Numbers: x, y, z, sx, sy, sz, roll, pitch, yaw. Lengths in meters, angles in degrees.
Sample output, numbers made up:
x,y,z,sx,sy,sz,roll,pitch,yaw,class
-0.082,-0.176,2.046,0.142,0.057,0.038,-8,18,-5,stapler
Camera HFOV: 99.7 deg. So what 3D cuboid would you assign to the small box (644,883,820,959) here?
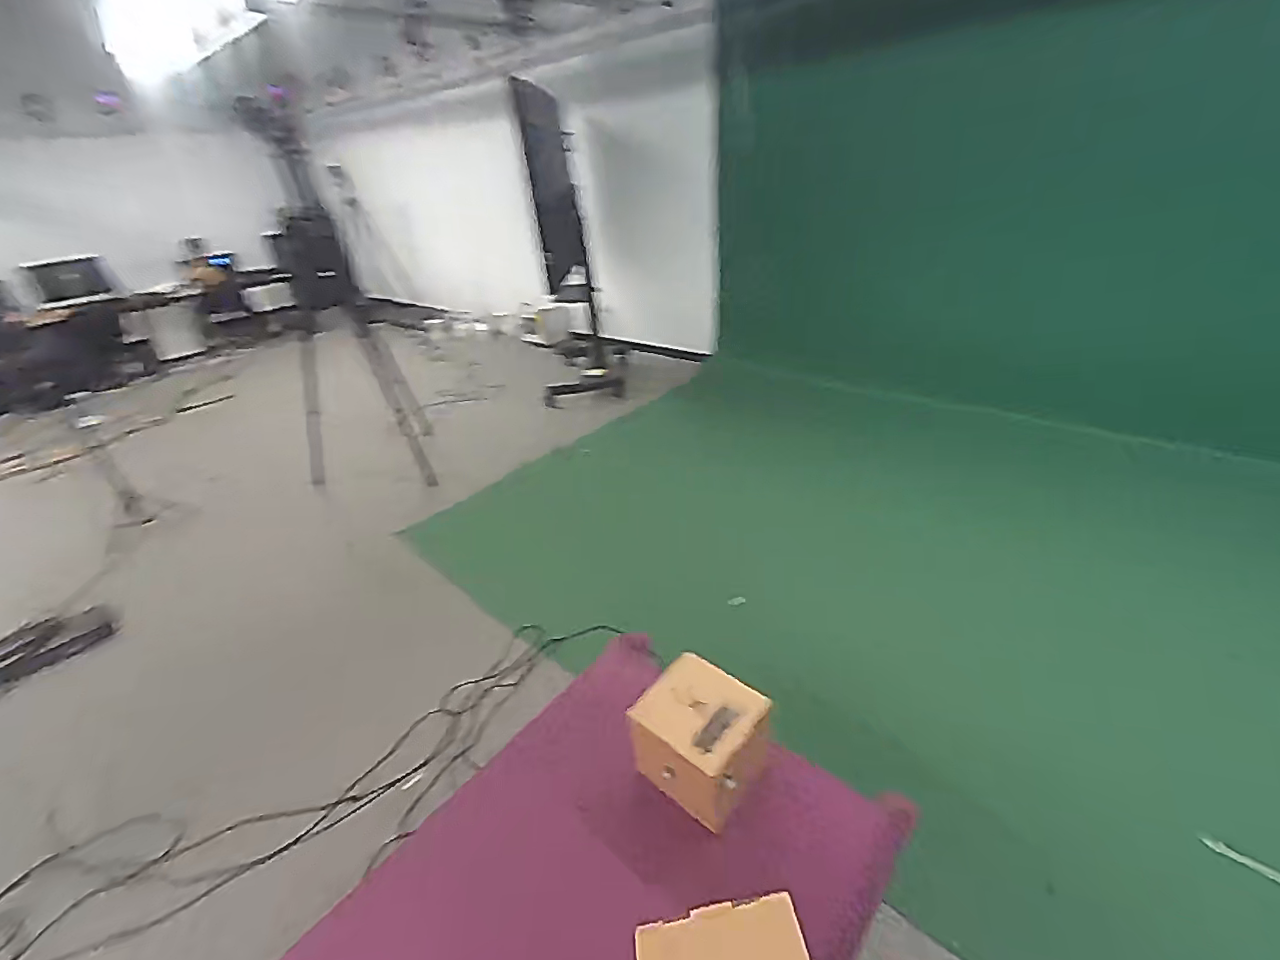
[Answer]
x,y,z,sx,sy,sz,roll,pitch,yaw,class
0.103,0.542,0.527,0.168,0.176,0.179,-12,32,0,small box
